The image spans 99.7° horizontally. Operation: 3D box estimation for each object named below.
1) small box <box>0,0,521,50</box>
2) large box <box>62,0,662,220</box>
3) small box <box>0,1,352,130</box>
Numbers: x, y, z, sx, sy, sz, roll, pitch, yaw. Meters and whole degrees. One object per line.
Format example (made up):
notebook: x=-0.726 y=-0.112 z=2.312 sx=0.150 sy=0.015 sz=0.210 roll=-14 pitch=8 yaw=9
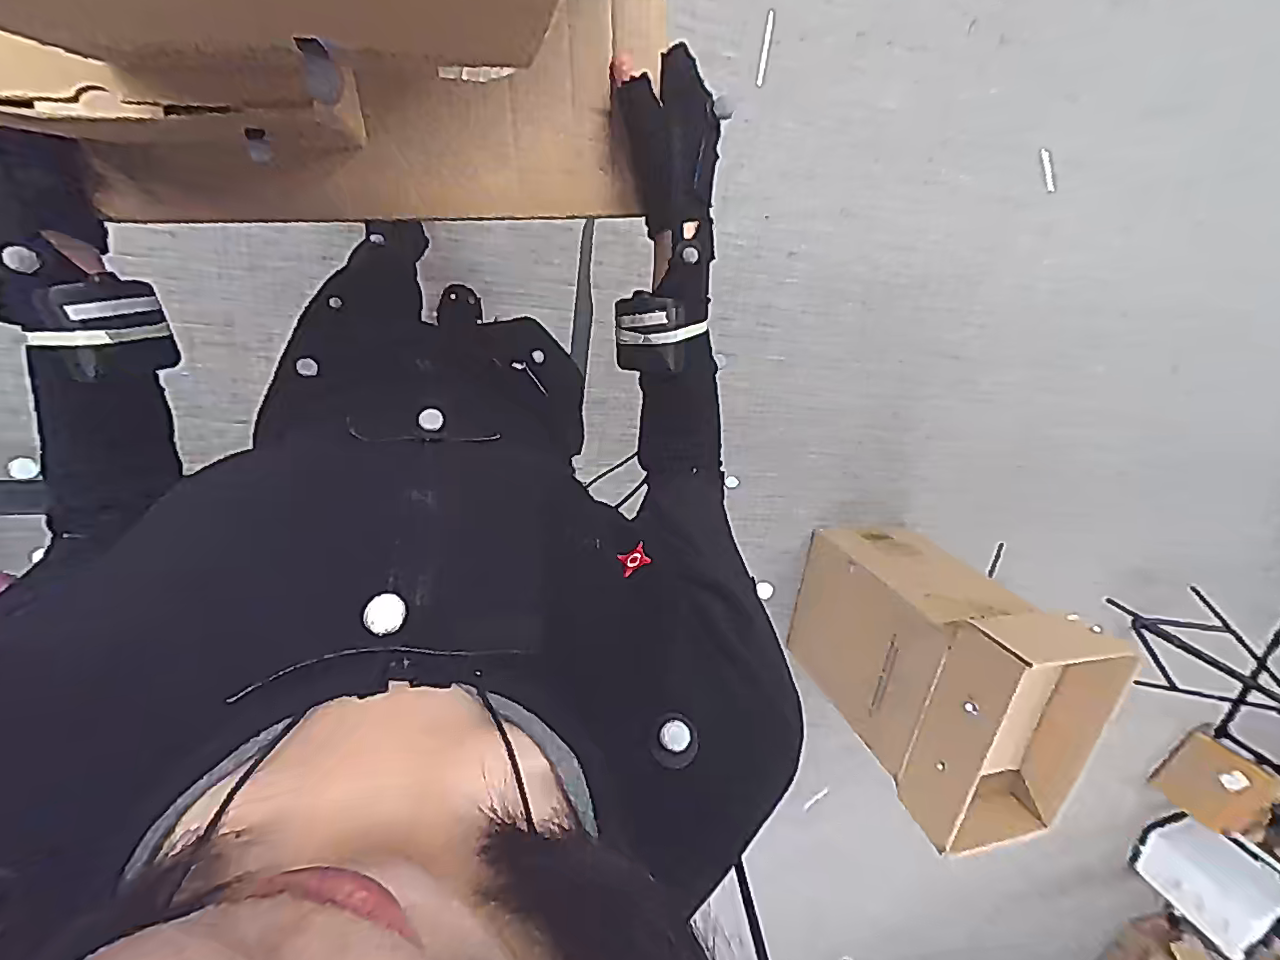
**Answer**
small box: x=-0.116 y=-0.218 z=0.121 sx=0.179 sy=0.176 sz=0.168 roll=-9 pitch=119 yaw=-12
large box: x=-0.219 y=-0.410 z=0.467 sx=0.408 sy=0.320 sz=0.320 roll=-9 pitch=120 yaw=-14
small box: x=-0.249 y=-0.270 z=0.246 sx=0.168 sy=0.176 sz=0.179 roll=-9 pitch=118 yaw=-15
